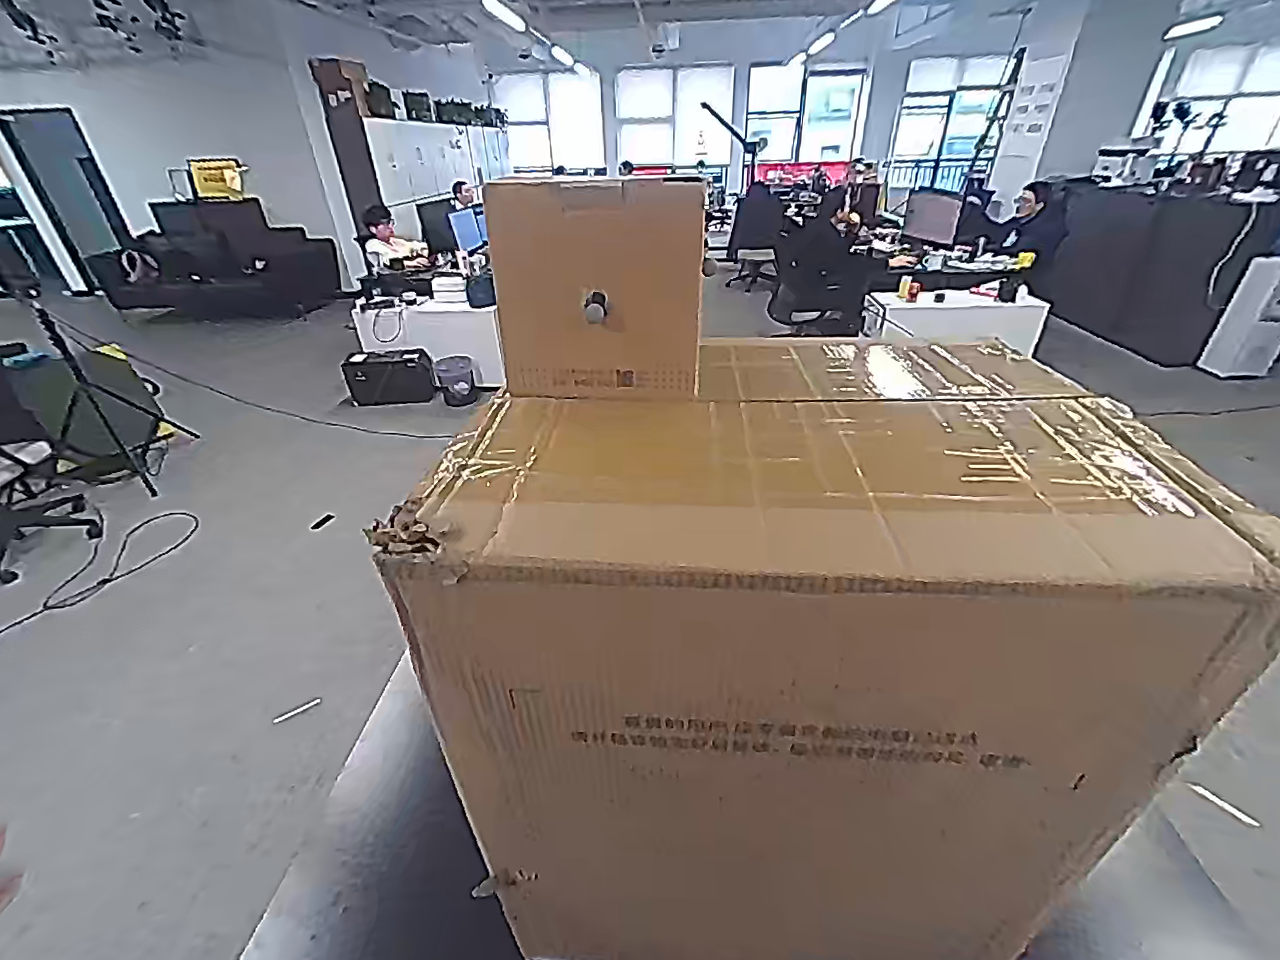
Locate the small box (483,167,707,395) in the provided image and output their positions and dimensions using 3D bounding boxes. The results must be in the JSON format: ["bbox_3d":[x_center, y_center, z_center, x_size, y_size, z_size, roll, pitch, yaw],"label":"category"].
[{"bbox_3d":[-0.024,-0.184,0.494,0.168,0.176,0.179,2,31,5],"label":"small box"}]
